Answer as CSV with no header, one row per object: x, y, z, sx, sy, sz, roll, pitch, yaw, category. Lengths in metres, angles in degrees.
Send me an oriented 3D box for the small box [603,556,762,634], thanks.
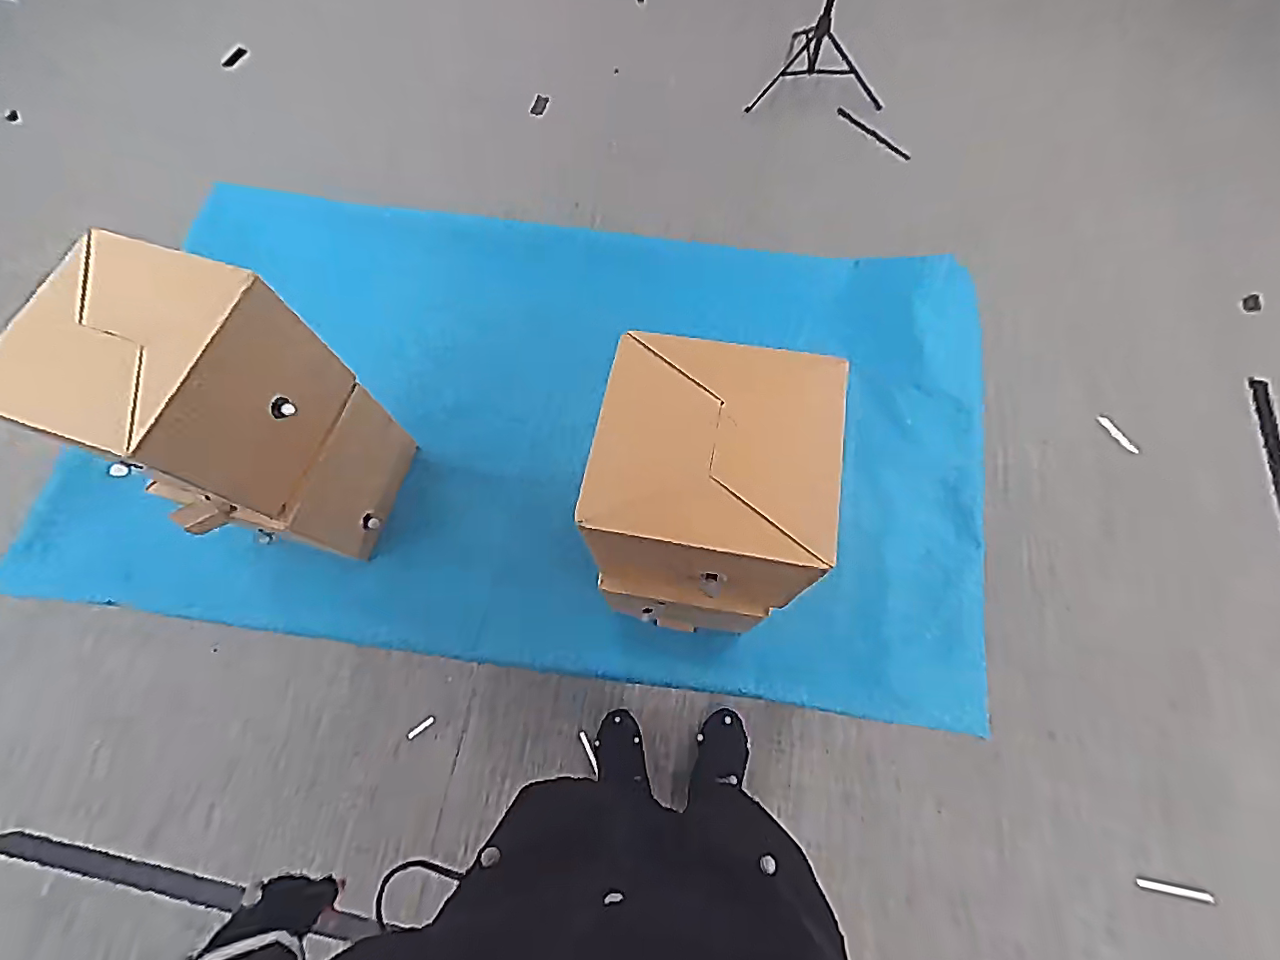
0.055,0.067,0.619,0.168,0.176,0.179,8,69,4,small box

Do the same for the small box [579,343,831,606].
0.059,0.003,0.468,0.179,0.176,0.168,9,68,7,small box

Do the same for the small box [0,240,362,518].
-0.413,-0.087,0.508,0.168,0.176,0.179,17,72,7,small box

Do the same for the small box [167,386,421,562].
-0.405,-0.017,0.658,0.168,0.176,0.179,13,71,5,small box
